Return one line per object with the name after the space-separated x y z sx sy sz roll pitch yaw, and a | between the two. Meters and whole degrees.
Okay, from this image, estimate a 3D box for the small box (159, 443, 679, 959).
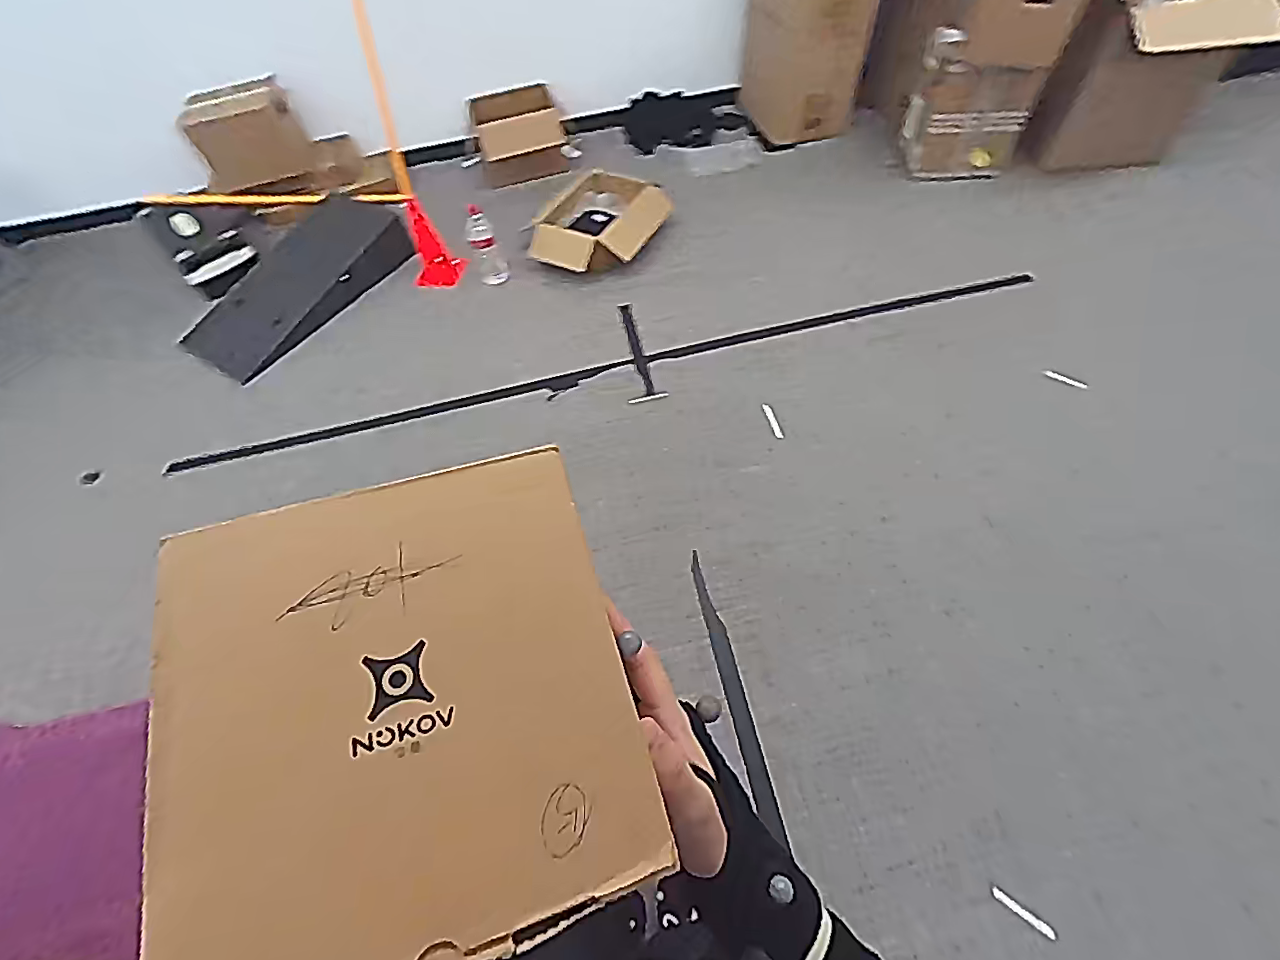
-0.092 0.110 0.276 0.168 0.176 0.179 -14 66 -13 | small box
